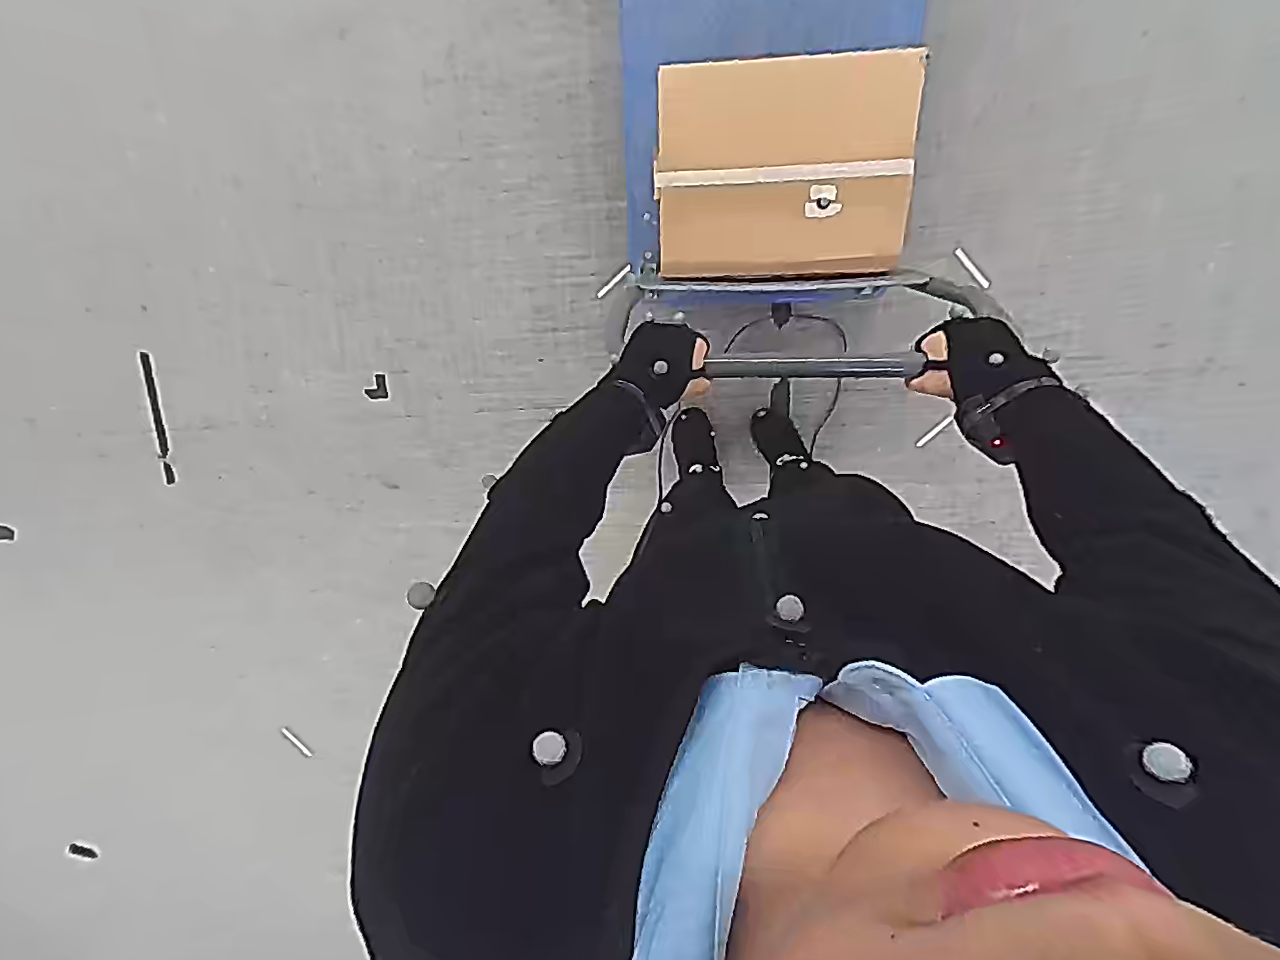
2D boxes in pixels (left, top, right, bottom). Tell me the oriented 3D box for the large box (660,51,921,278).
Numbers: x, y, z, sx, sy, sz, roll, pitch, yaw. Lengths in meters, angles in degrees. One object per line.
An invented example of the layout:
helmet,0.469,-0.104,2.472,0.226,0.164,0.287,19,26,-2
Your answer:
large box,0.249,-0.564,1.033,0.408,0.320,0.320,0,113,5
